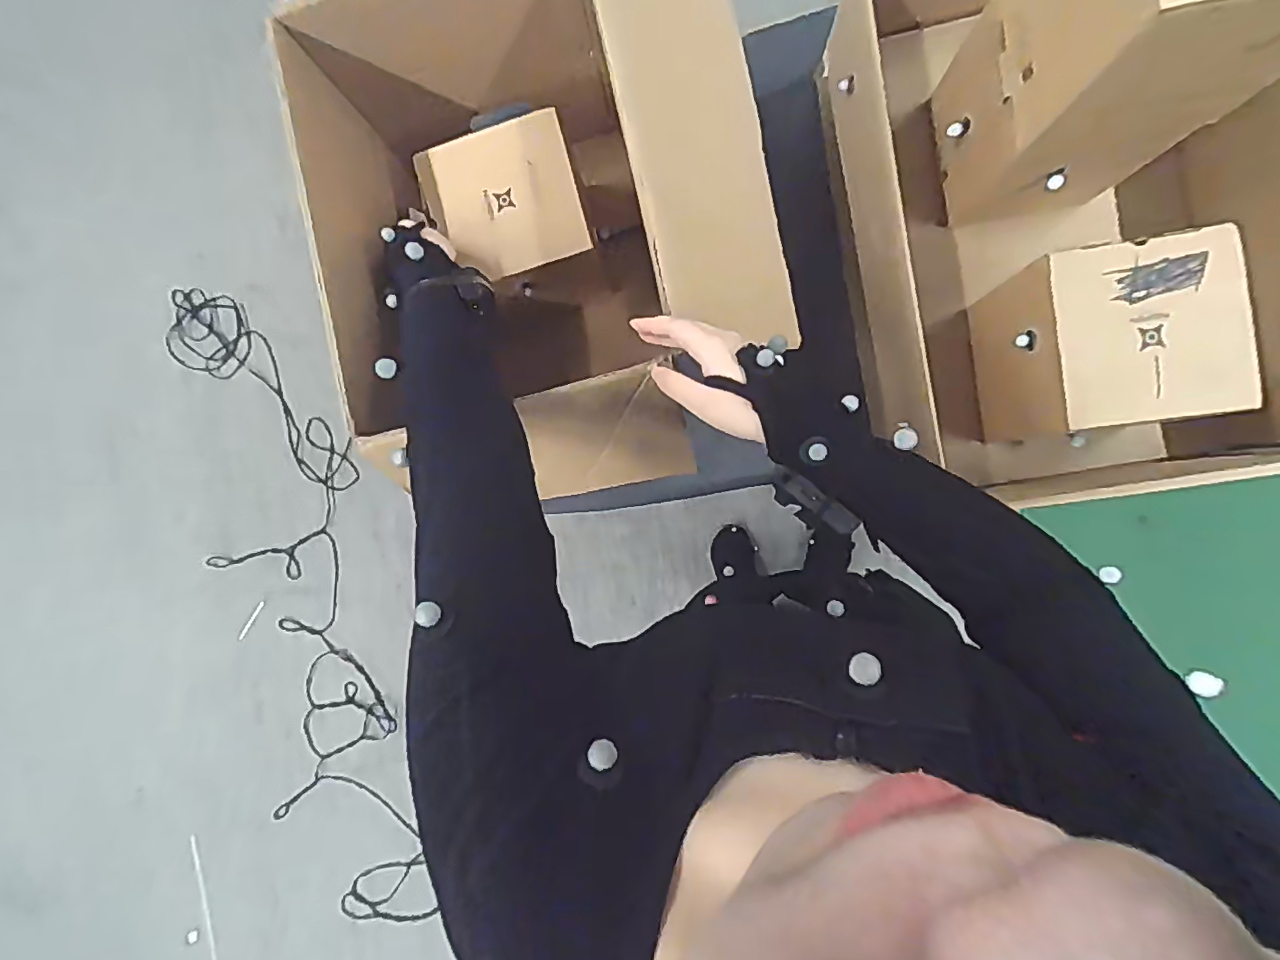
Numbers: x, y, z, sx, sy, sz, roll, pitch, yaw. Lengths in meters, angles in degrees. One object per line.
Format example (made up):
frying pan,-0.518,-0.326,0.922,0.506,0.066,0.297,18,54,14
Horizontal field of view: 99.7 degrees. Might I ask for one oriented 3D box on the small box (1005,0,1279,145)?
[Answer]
small box,0.426,-0.404,0.434,0.179,0.176,0.168,-7,91,6
